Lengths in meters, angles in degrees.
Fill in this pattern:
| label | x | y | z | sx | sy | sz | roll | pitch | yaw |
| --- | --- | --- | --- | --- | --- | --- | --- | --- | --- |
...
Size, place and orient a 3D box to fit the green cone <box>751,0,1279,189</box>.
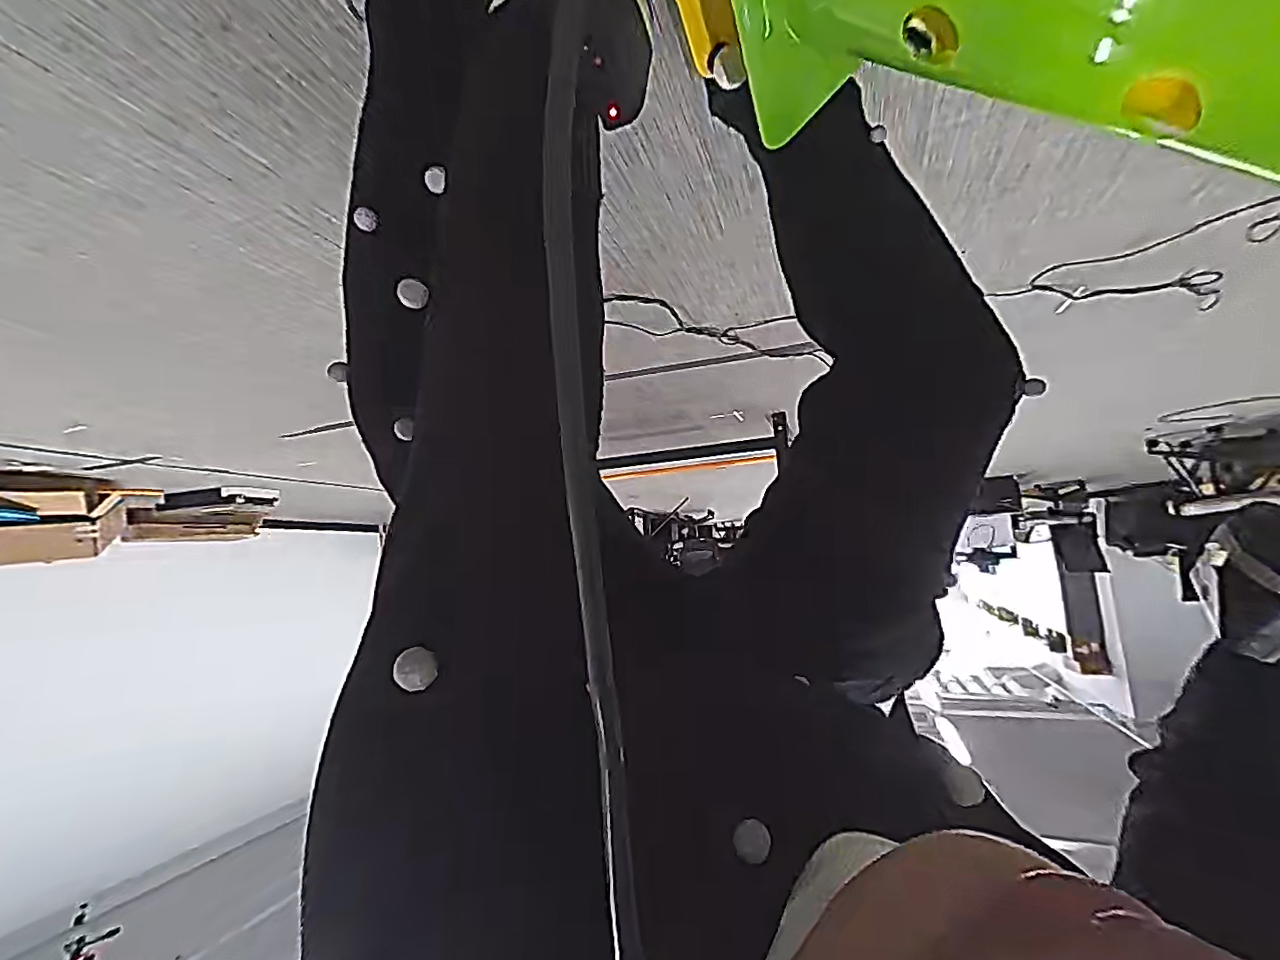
| label | x | y | z | sx | sy | sz | roll | pitch | yaw |
| --- | --- | --- | --- | --- | --- | --- | --- | --- | --- |
| green cone | 0.236 | -0.182 | 0.206 | 0.202 | 0.368 | 0.200 | -44 | 158 | 11 |
